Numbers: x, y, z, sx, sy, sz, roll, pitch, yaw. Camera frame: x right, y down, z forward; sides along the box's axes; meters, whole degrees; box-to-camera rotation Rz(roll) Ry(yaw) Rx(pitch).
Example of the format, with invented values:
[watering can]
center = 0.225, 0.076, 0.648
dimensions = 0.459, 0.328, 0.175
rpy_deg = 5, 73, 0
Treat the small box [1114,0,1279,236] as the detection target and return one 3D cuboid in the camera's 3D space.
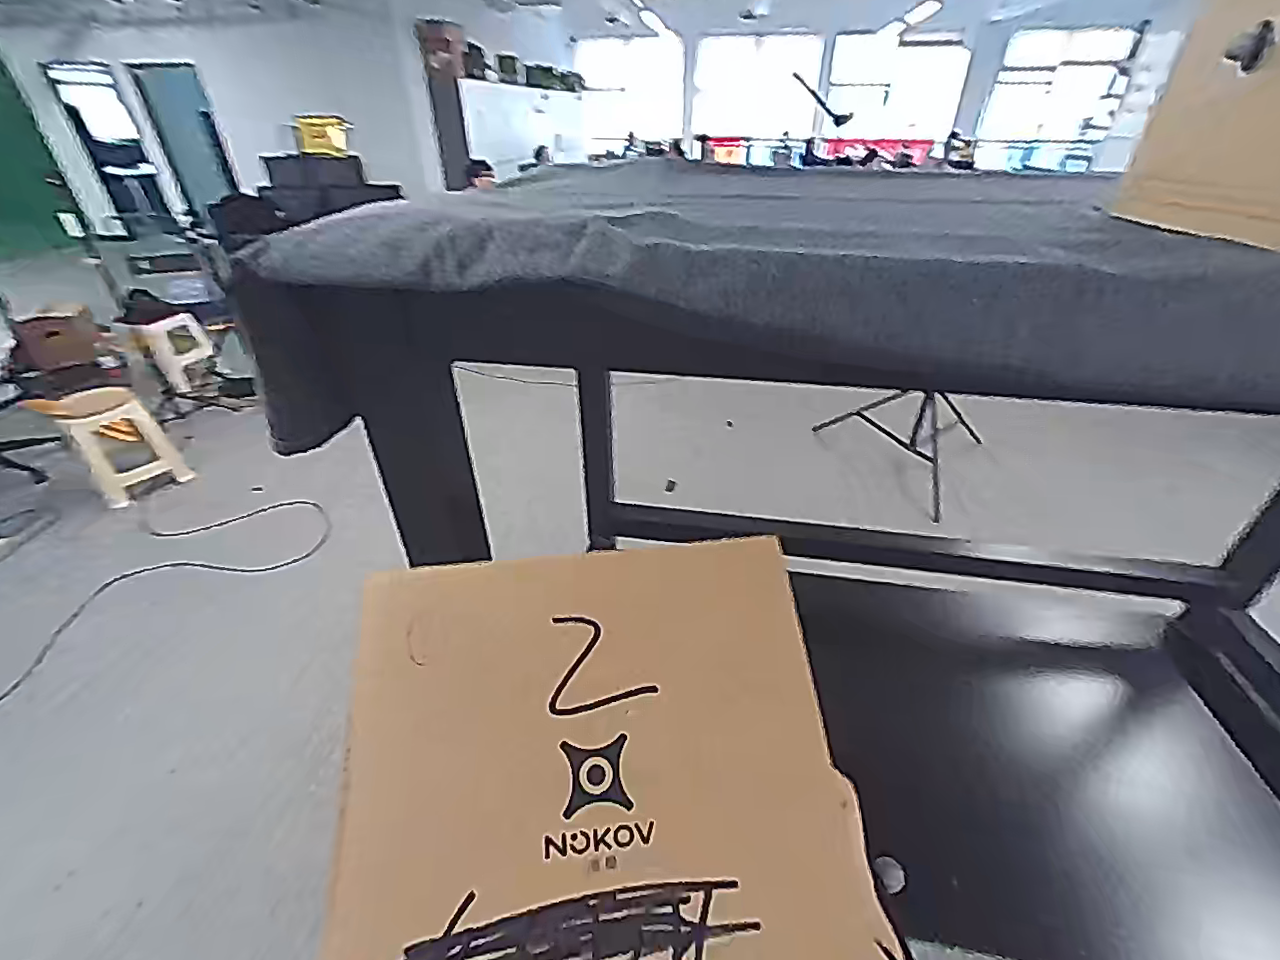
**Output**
[small box]
center = 0.416, -0.222, 0.284
dimensions = 0.168, 0.176, 0.179
rpy_deg = 5, 32, 8
